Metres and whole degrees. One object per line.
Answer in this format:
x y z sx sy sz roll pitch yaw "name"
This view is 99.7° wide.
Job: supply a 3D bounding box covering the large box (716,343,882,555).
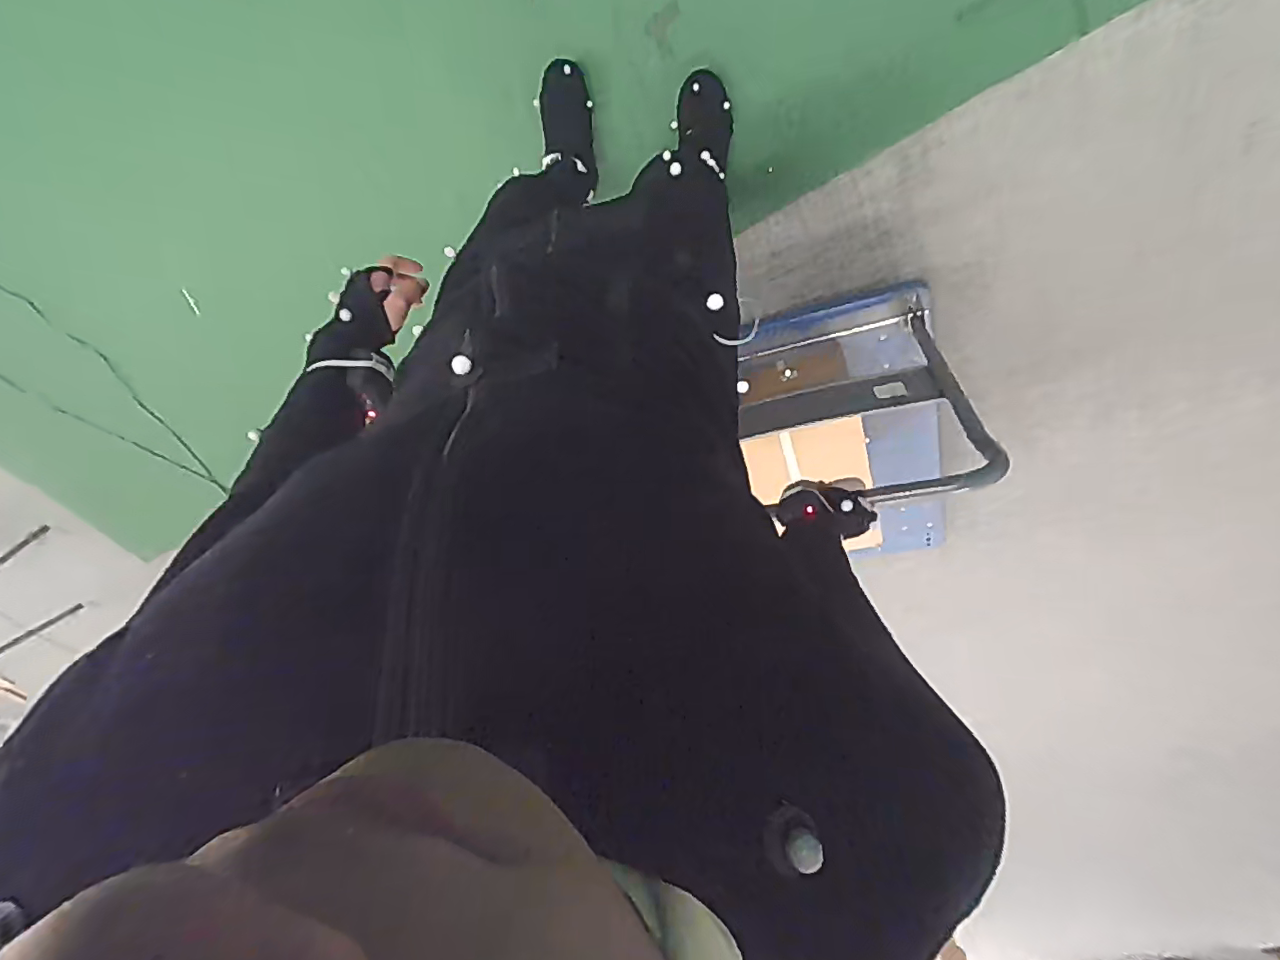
0.402 -0.072 1.384 0.320 0.320 0.408 -11 127 21 "large box"
